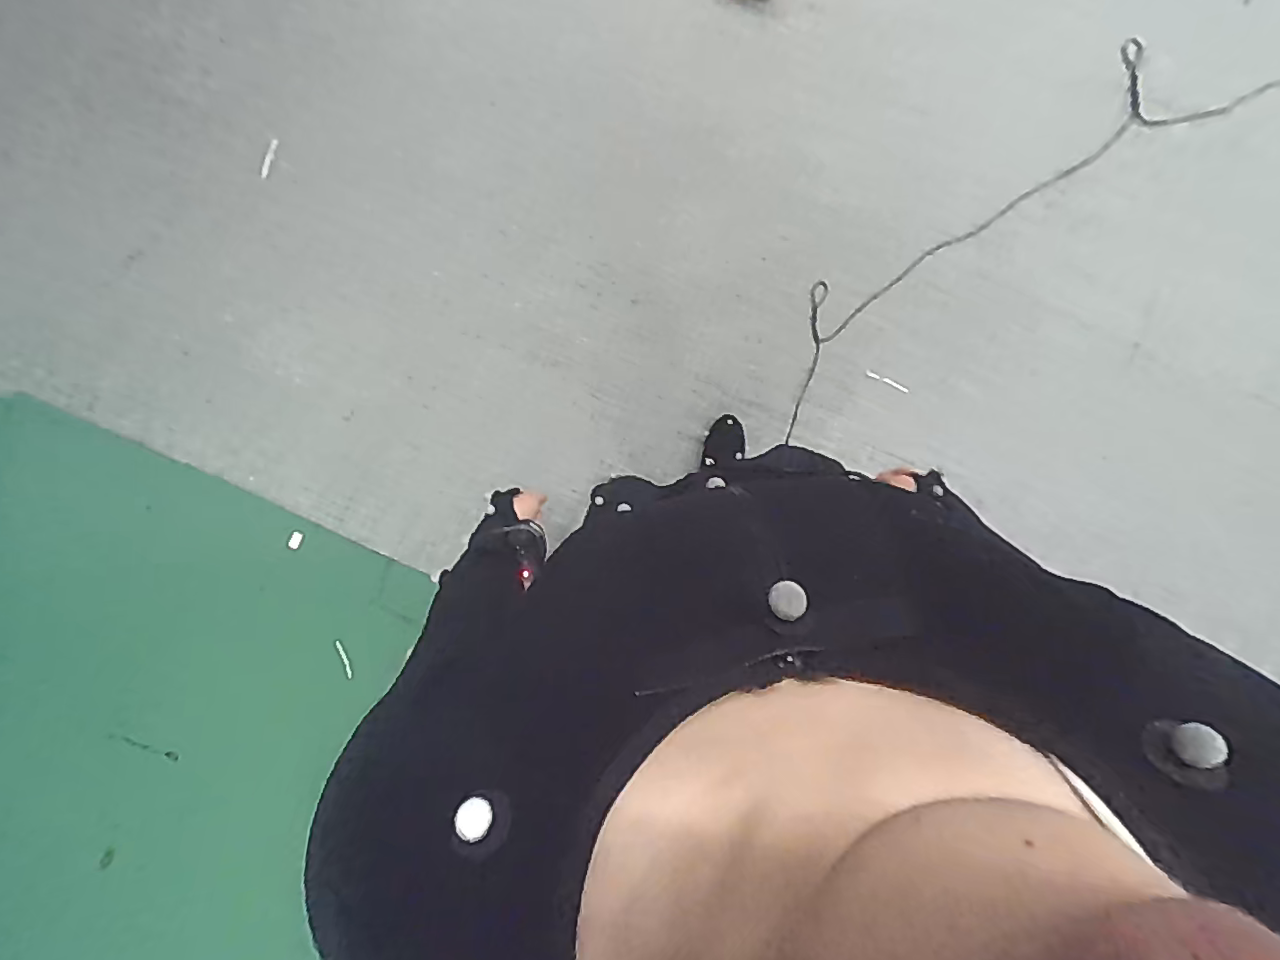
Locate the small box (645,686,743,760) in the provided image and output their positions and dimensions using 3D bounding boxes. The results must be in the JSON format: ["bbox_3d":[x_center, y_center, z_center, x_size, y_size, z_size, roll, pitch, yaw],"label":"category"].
[{"bbox_3d":[0.114,0.605,1.228,0.168,0.176,0.179,25,96,1],"label":"small box"}]
